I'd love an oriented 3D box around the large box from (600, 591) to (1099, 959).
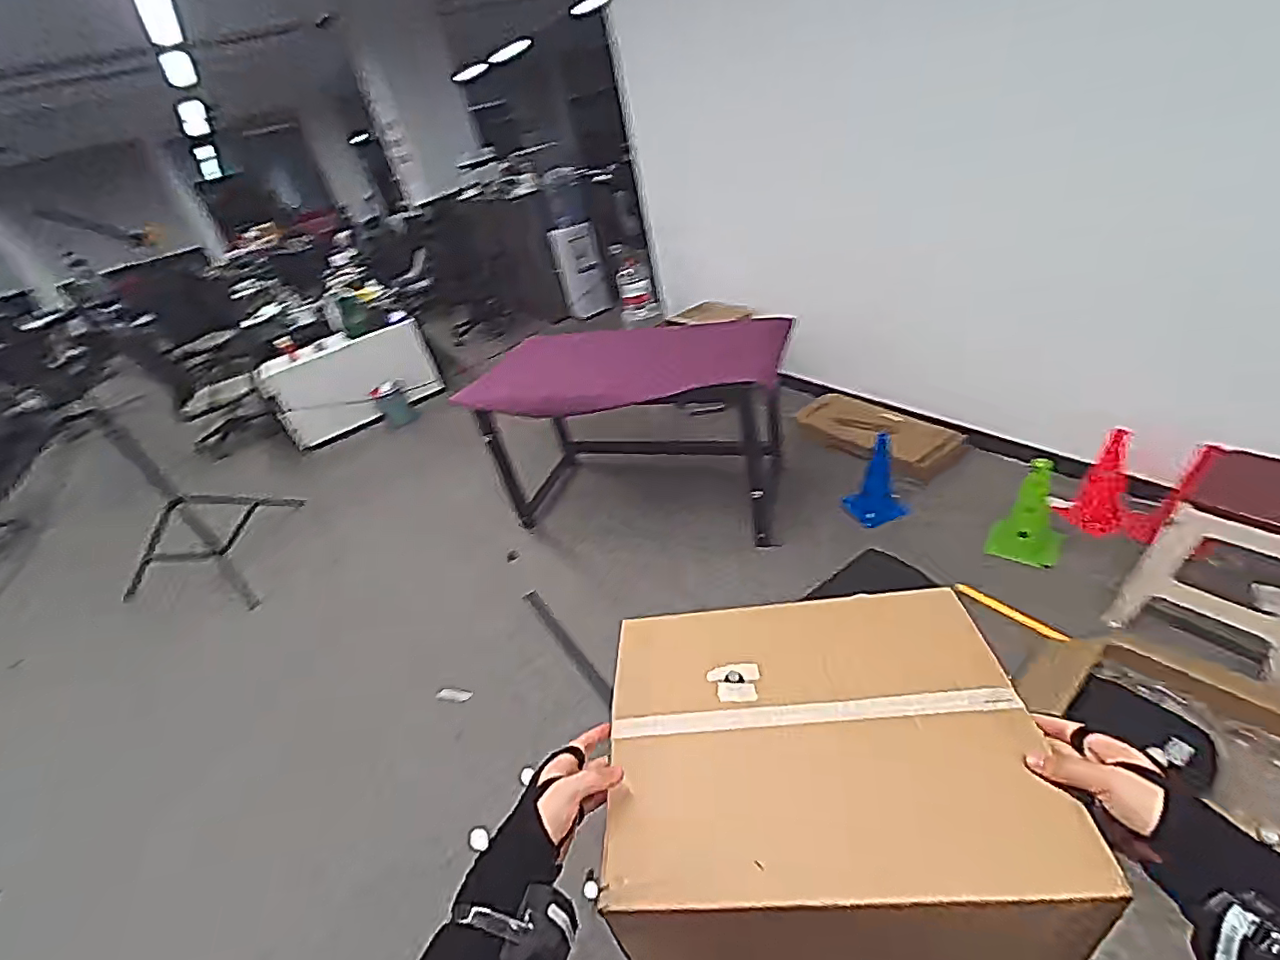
[{"bbox_3d":[0.191,0.373,0.638,0.408,0.320,0.320,-9,33,7],"label":"large box"}]
